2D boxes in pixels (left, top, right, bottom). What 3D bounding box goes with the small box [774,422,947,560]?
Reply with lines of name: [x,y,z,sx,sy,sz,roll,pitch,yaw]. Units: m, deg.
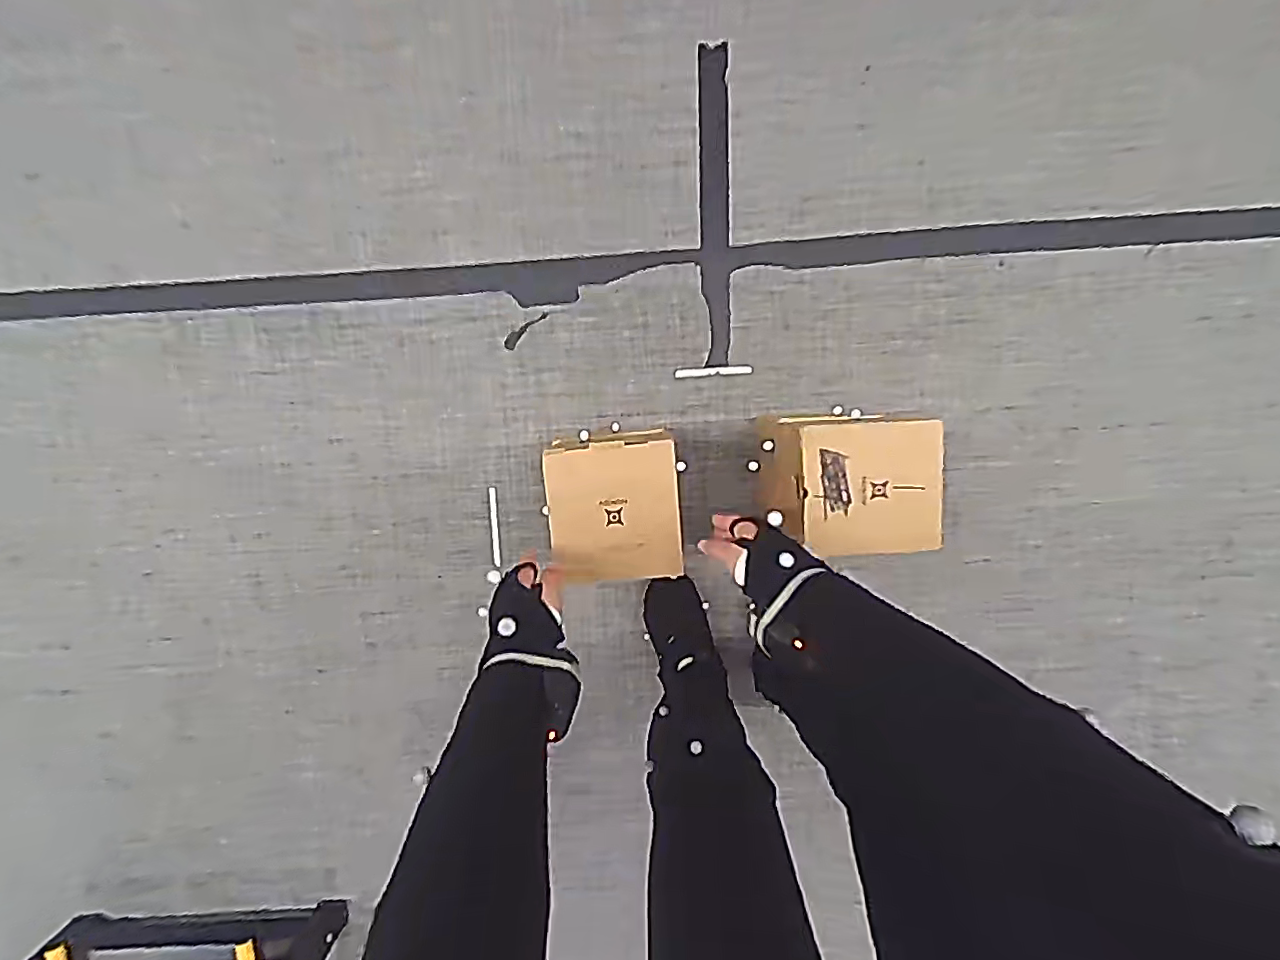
small box: [0.286,0.006,0.740,0.179,0.176,0.168,-3,98,-1]

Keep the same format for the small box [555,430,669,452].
small box: [-0.036,0.007,0.907,0.179,0.176,0.168,-6,98,2]

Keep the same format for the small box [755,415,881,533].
small box: [0.292,-0.016,0.905,0.168,0.176,0.179,-1,99,0]

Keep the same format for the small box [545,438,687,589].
small box: [-0.028,0.036,0.748,0.168,0.176,0.179,-5,99,3]
